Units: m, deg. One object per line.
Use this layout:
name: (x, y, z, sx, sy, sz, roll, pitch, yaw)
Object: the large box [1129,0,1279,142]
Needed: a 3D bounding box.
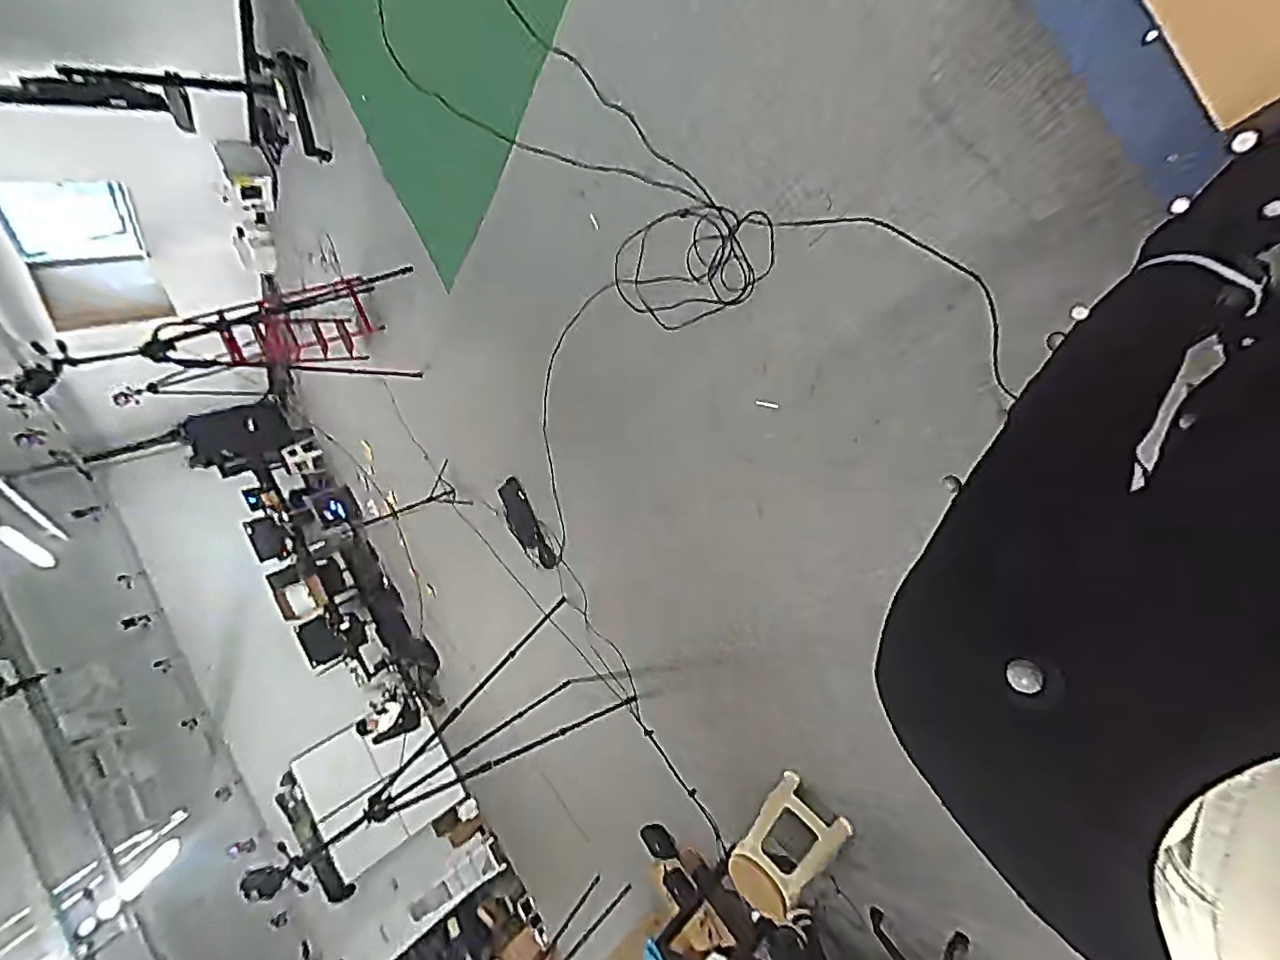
large box: (0.869, -0.731, 0.704, 0.320, 0.320, 0.408, -31, 85, 51)
